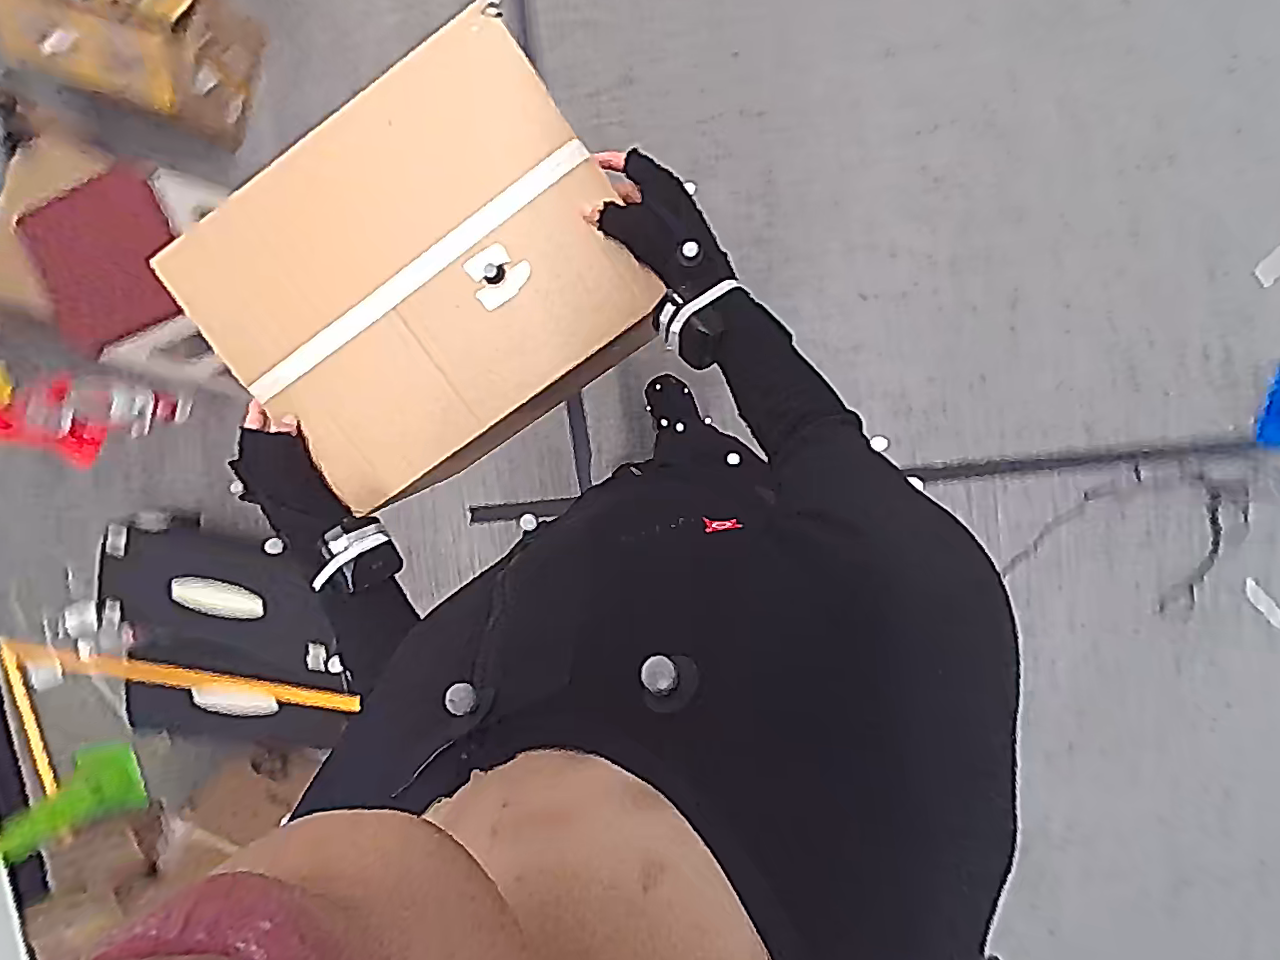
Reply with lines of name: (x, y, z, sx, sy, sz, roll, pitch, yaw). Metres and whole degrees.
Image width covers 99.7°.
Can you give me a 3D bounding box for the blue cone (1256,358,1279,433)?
blue cone: (1.642, -0.186, 1.180, 0.192, 0.380, 0.193, 14, 96, 3)
